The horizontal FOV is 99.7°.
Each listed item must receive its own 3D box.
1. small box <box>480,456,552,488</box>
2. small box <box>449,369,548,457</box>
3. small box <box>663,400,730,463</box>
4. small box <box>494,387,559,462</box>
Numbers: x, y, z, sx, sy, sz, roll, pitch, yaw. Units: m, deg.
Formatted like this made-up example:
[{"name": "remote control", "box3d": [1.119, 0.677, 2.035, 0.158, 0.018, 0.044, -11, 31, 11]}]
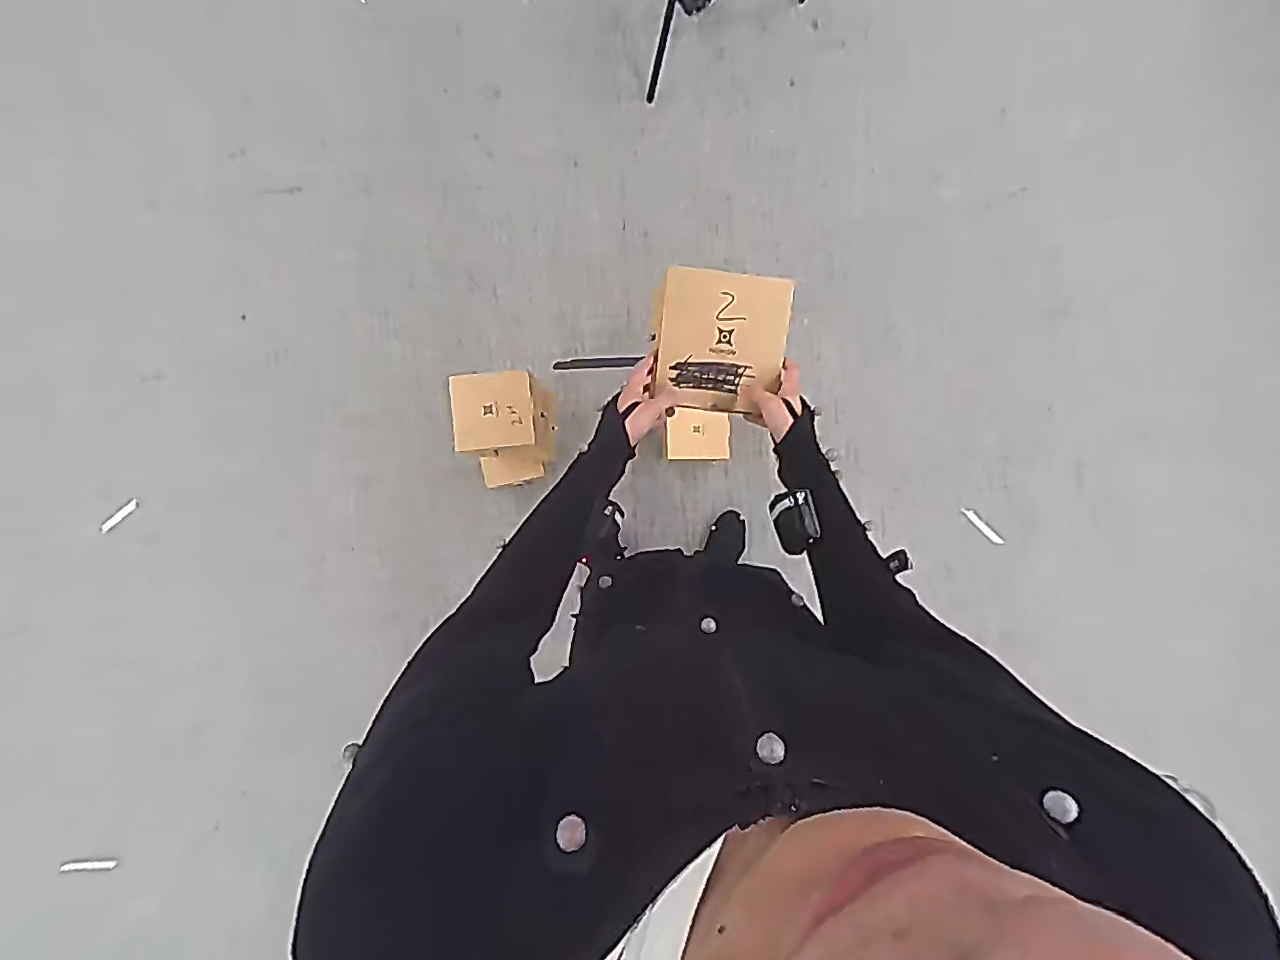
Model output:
[{"name": "small box", "box3d": [-0.358, -0.076, 1.552, 0.168, 0.176, 0.179, -13, 89, -1]}, {"name": "small box", "box3d": [-0.314, -0.145, 1.227, 0.179, 0.176, 0.168, -6, 88, -1]}, {"name": "small box", "box3d": [0.159, -0.137, 1.569, 0.179, 0.176, 0.168, -1, 89, -3]}, {"name": "small box", "box3d": [-0.302, -0.141, 1.392, 0.168, 0.176, 0.179, 2, 89, -1]}]
